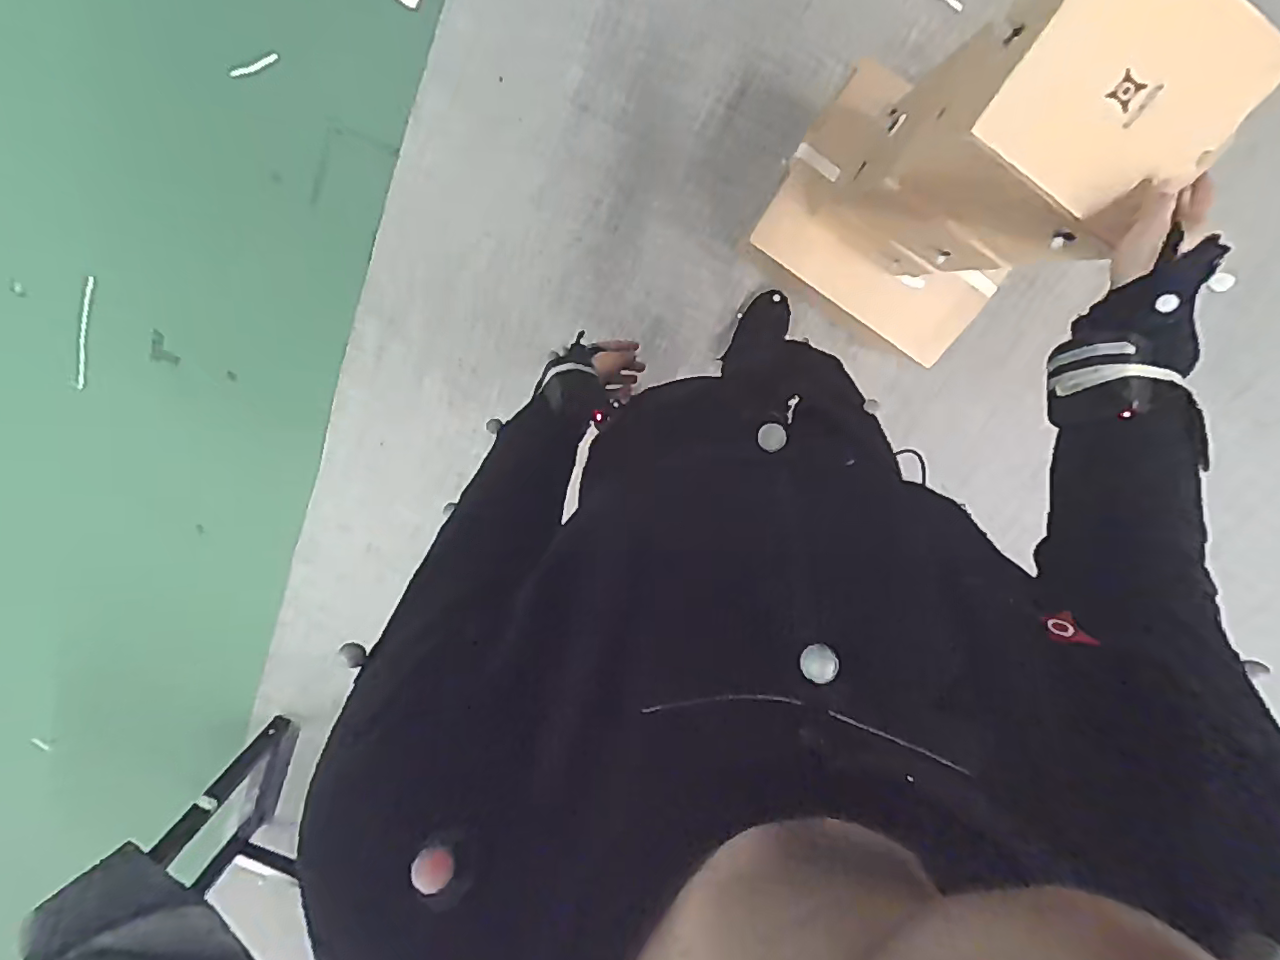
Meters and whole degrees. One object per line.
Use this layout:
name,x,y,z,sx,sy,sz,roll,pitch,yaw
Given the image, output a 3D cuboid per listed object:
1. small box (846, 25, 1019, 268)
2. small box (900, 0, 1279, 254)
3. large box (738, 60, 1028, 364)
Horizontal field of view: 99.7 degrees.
small box,0.382,-0.371,0.642,0.179,0.176,0.168,29,108,-5
small box,0.377,-0.323,0.486,0.179,0.176,0.168,31,108,-7
large box,0.448,-0.475,1.032,0.408,0.320,0.320,31,110,-7
